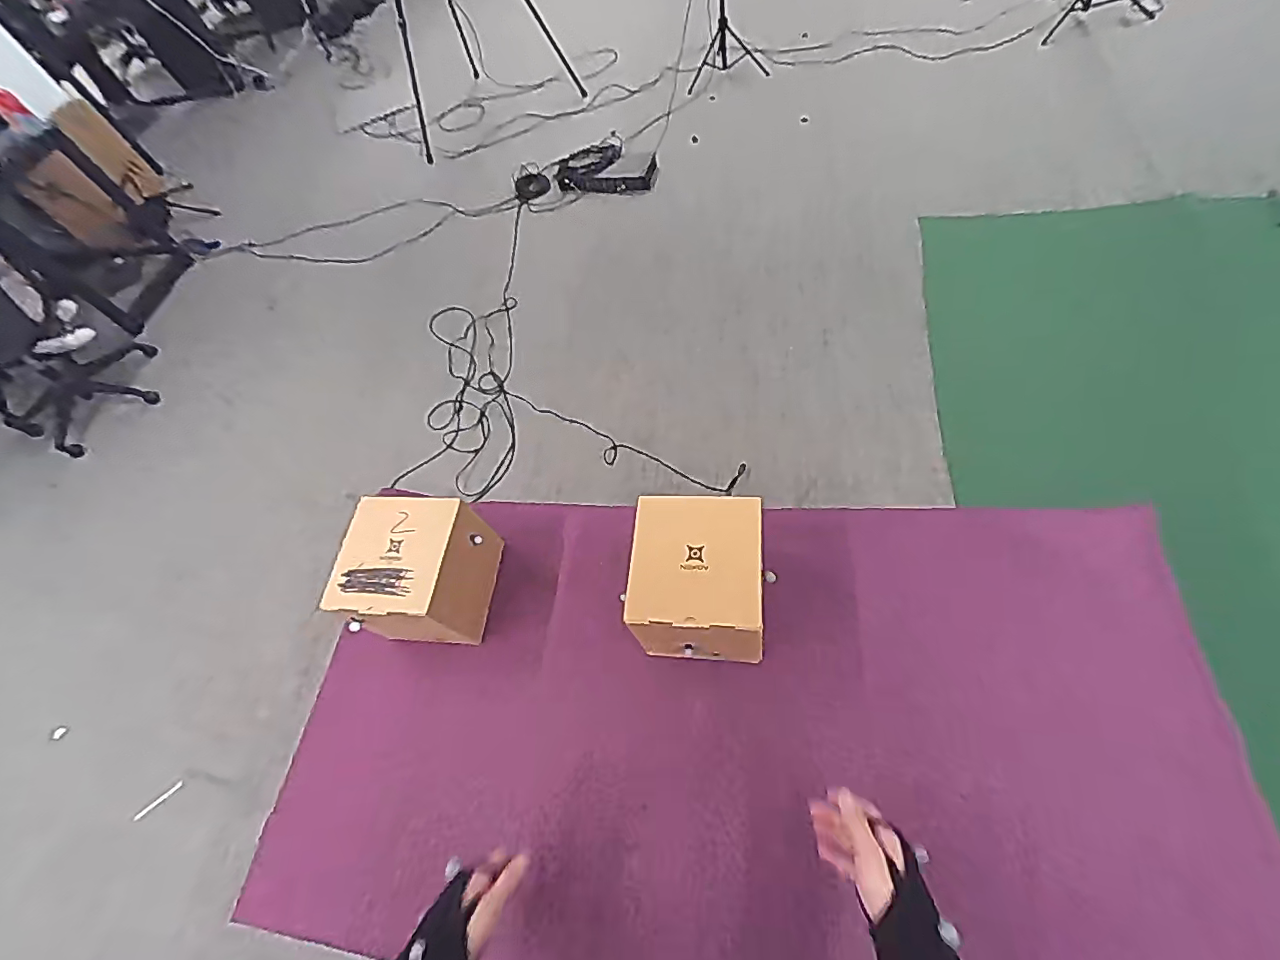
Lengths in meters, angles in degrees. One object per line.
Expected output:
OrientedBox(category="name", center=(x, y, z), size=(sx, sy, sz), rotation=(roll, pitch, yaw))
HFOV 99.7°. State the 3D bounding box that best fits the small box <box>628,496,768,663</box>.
OrientedBox(category="small box", center=(0.087, 0.138, 0.741), size=(0.168, 0.176, 0.179), rotation=(1, 61, 11))
